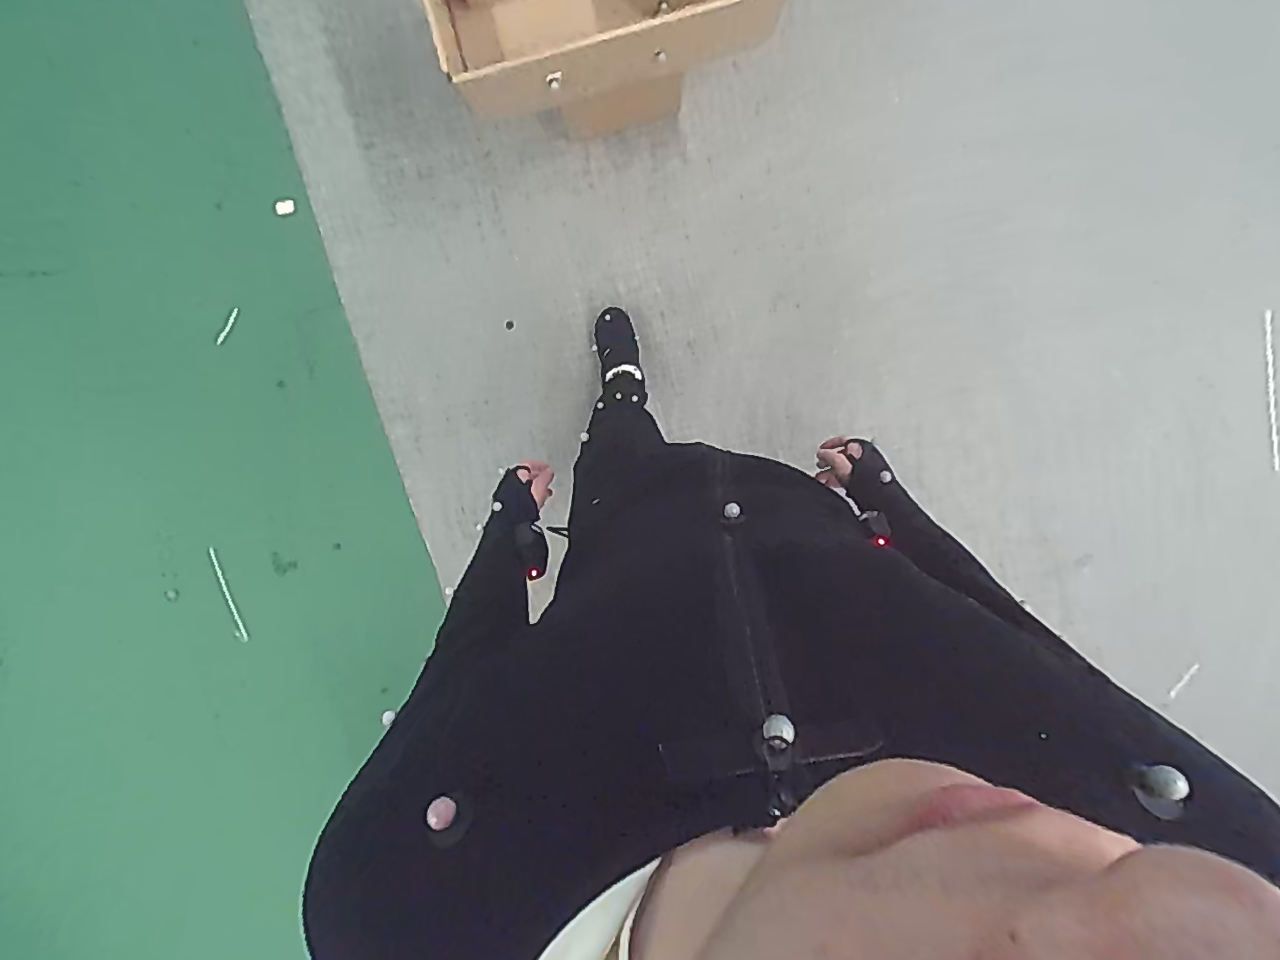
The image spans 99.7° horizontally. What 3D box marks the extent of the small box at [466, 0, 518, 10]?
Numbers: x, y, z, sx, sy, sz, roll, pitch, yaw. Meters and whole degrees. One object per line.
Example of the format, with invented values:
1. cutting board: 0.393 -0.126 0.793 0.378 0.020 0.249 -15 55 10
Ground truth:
1. small box: -0.264 -0.973 0.928 0.168 0.176 0.179 -12 100 2
